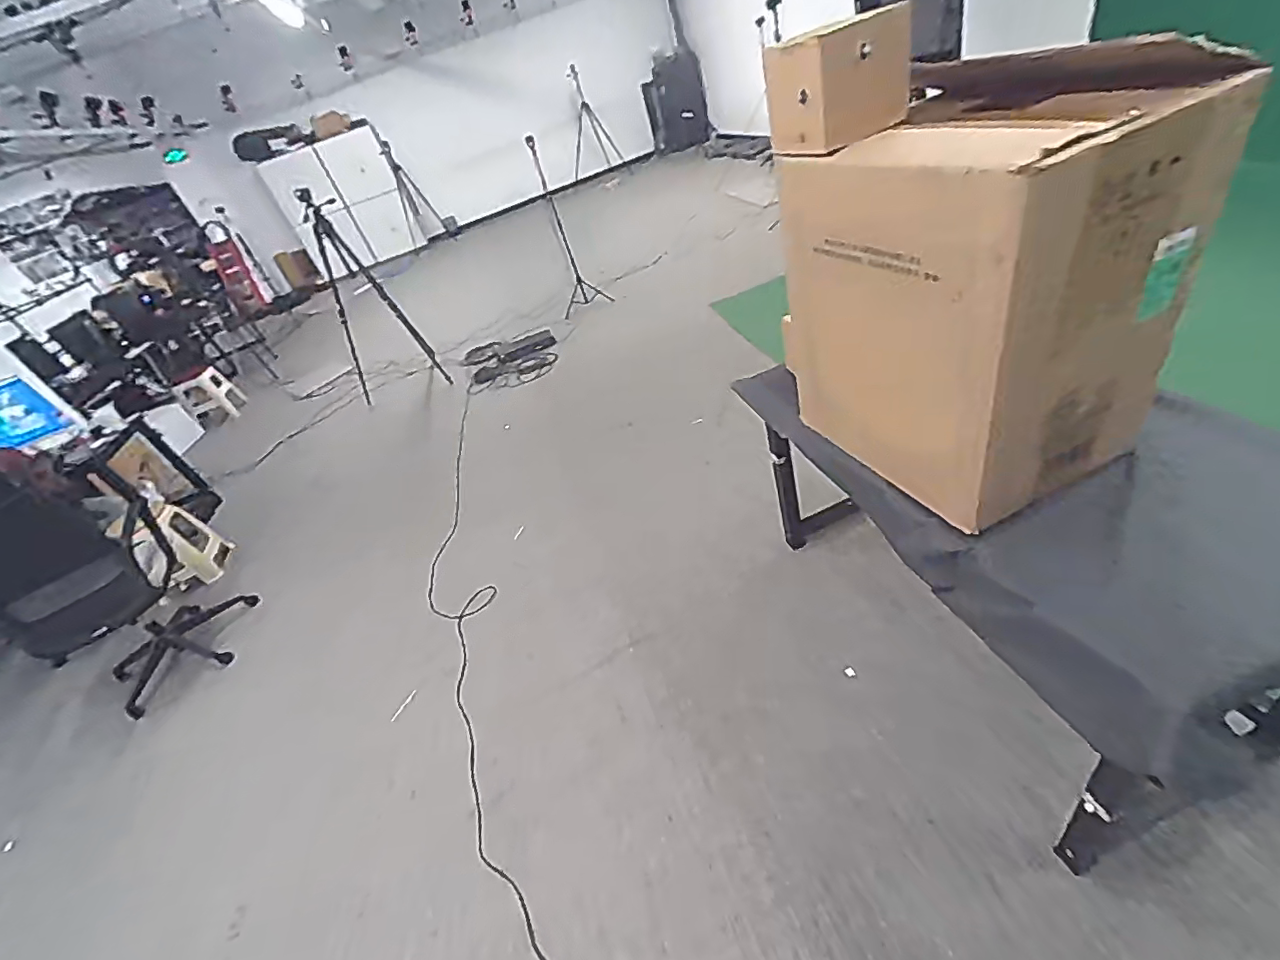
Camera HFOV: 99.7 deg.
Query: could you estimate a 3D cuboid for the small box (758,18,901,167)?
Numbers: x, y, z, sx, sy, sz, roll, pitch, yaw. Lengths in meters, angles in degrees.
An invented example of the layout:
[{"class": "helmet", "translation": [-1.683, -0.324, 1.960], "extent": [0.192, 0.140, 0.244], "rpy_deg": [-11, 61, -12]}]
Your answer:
[{"class": "small box", "translation": [0.337, -0.674, 0.959], "extent": [0.179, 0.176, 0.168], "rpy_deg": [-25, 36, -7]}]
